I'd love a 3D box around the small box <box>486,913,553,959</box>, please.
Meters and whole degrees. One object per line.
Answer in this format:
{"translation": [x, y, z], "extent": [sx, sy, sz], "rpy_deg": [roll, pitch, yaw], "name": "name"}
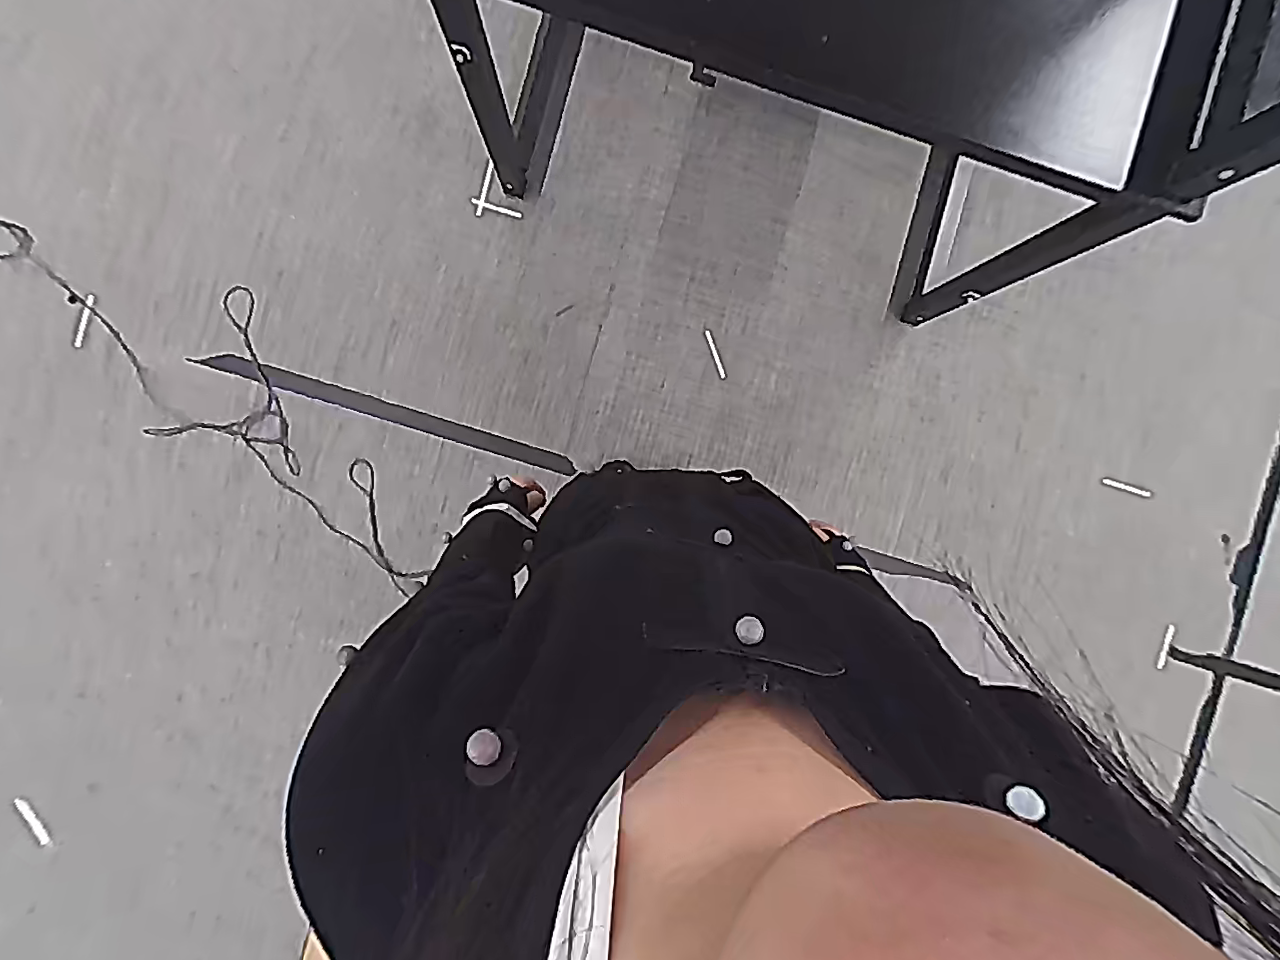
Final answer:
{"translation": [-0.323, 1.287, 1.419], "extent": [0.168, 0.176, 0.179], "rpy_deg": [7, 91, -5], "name": "small box"}
